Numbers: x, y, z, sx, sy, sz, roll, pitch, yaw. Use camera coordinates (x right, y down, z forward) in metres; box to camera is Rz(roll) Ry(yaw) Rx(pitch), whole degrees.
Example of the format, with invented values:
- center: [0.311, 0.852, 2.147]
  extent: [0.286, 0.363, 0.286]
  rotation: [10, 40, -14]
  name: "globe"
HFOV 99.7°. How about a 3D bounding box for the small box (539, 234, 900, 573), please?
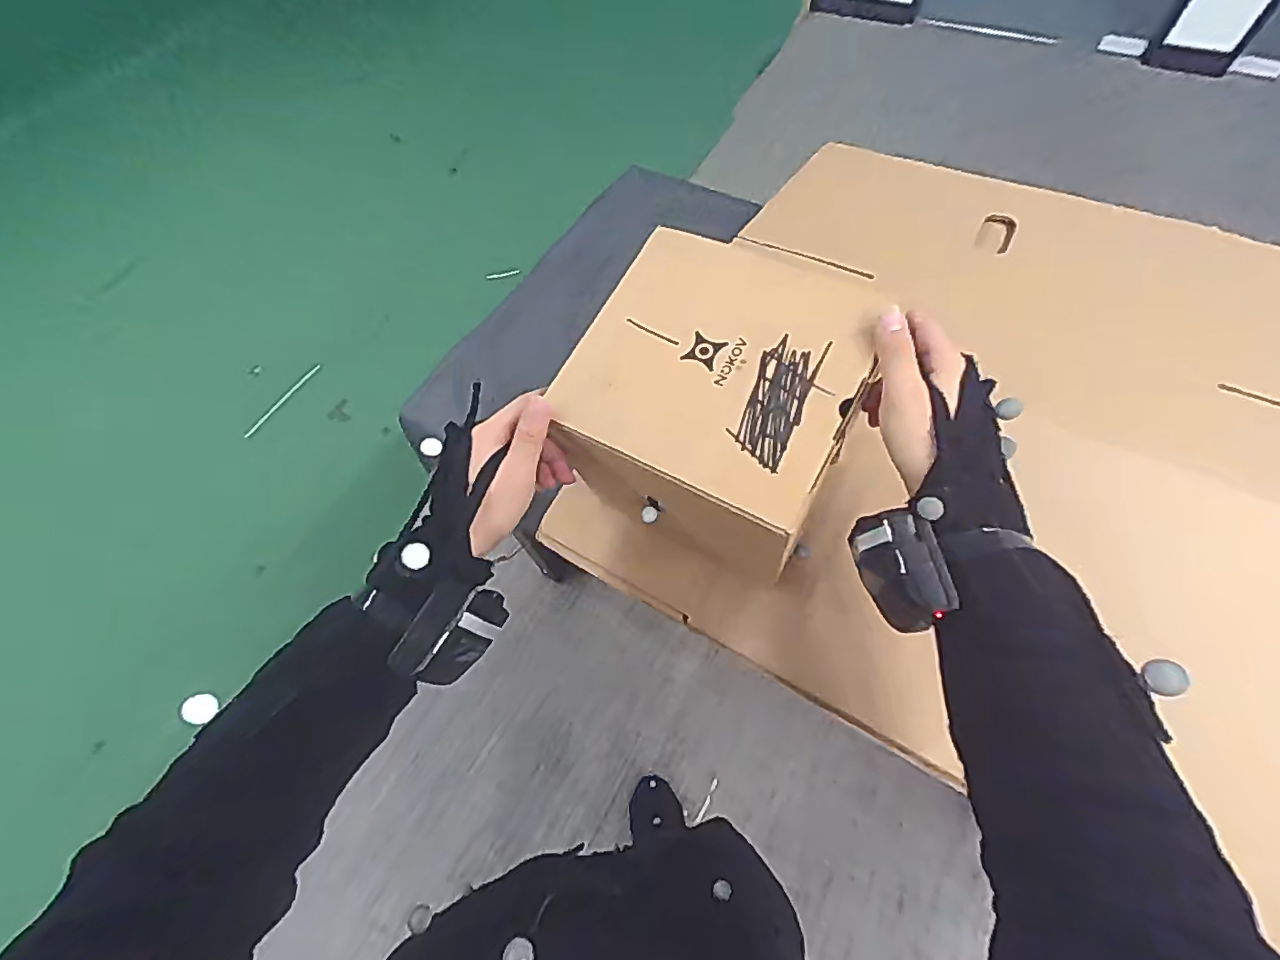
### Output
- center: [0.061, -0.044, 0.413]
  extent: [0.179, 0.176, 0.168]
  rotation: [26, 75, 19]
  name: "small box"
